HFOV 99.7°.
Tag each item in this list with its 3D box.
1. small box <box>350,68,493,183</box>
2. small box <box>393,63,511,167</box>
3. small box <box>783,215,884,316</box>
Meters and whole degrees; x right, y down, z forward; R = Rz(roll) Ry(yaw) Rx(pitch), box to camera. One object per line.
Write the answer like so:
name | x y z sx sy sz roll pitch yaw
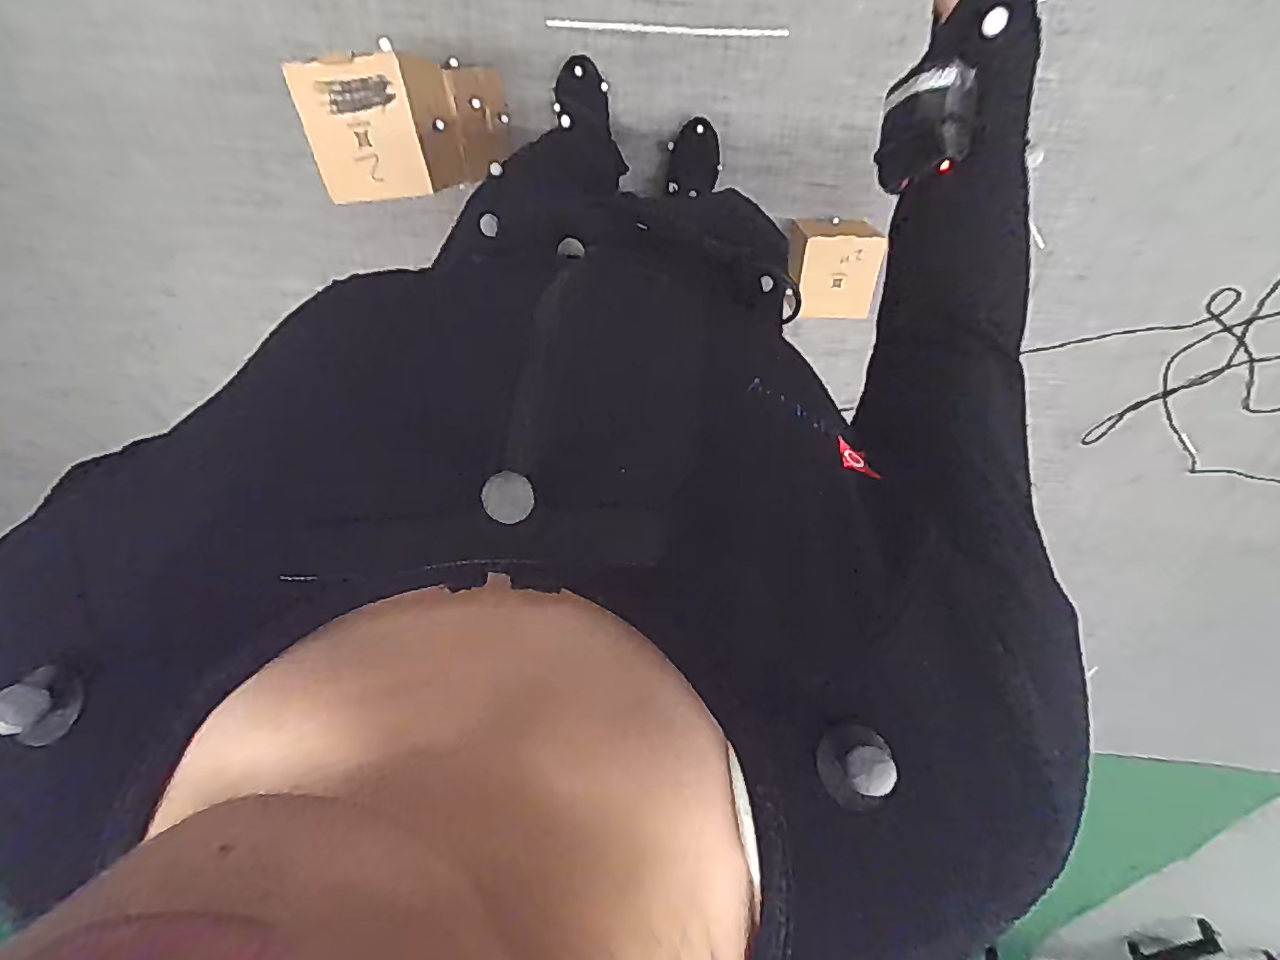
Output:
small box | -0.380 -0.646 0.985 0.179 0.176 0.168 1 125 5
small box | -0.371 -0.750 1.110 0.179 0.176 0.168 2 126 2
small box | 0.431 -0.492 1.236 0.168 0.176 0.179 2 127 2
